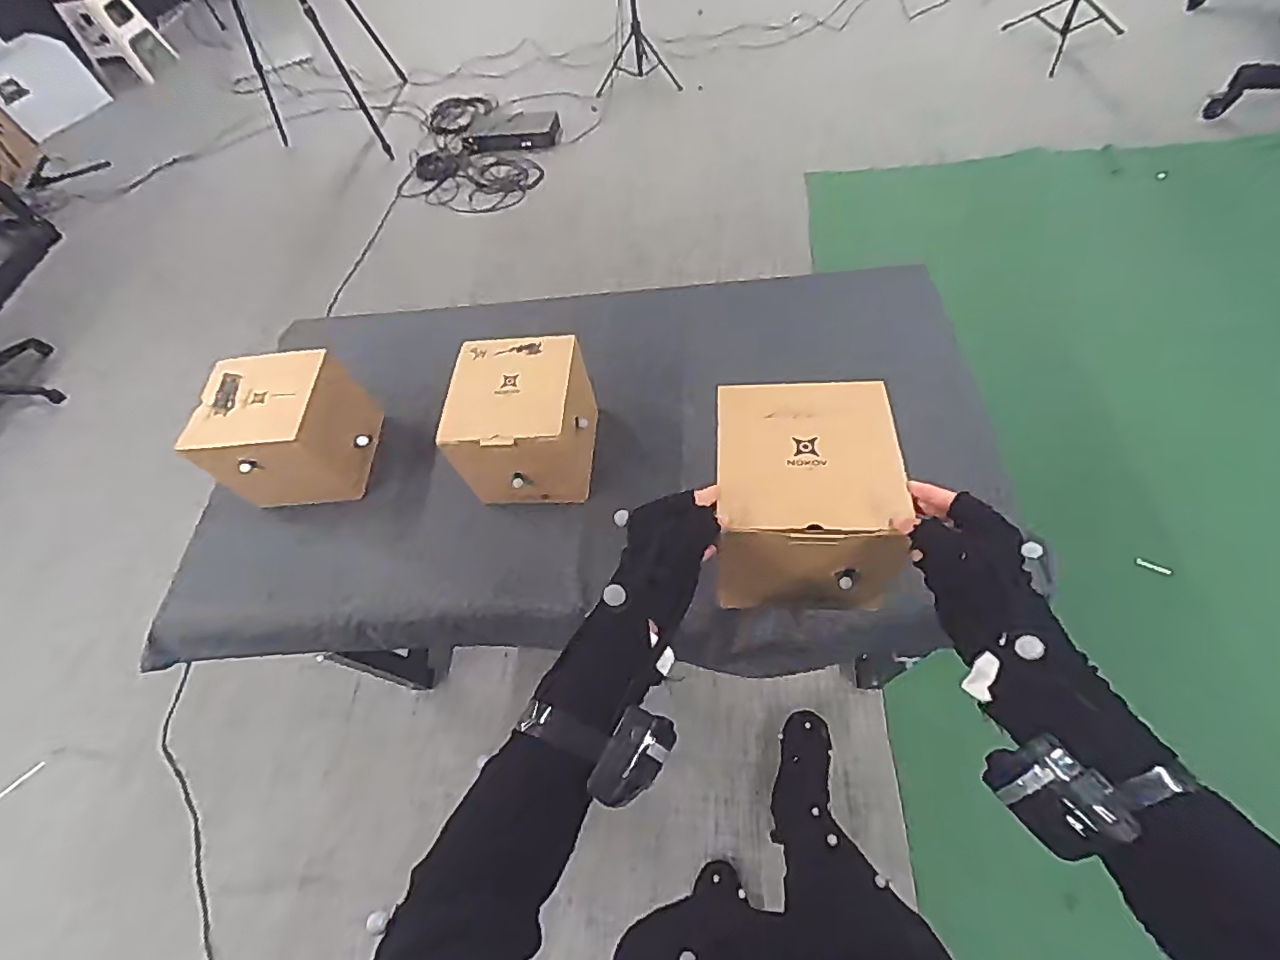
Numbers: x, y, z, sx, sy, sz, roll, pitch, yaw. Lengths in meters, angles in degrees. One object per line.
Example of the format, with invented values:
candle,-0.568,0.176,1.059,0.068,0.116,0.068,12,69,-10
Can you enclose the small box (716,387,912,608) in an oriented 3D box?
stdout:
small box,0.165,0.024,0.573,0.168,0.176,0.179,-1,52,8

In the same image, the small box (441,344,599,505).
small box,-0.160,-0.072,0.787,0.168,0.176,0.179,-1,60,8

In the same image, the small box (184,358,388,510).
small box,-0.527,-0.064,0.834,0.179,0.176,0.168,-5,59,4
